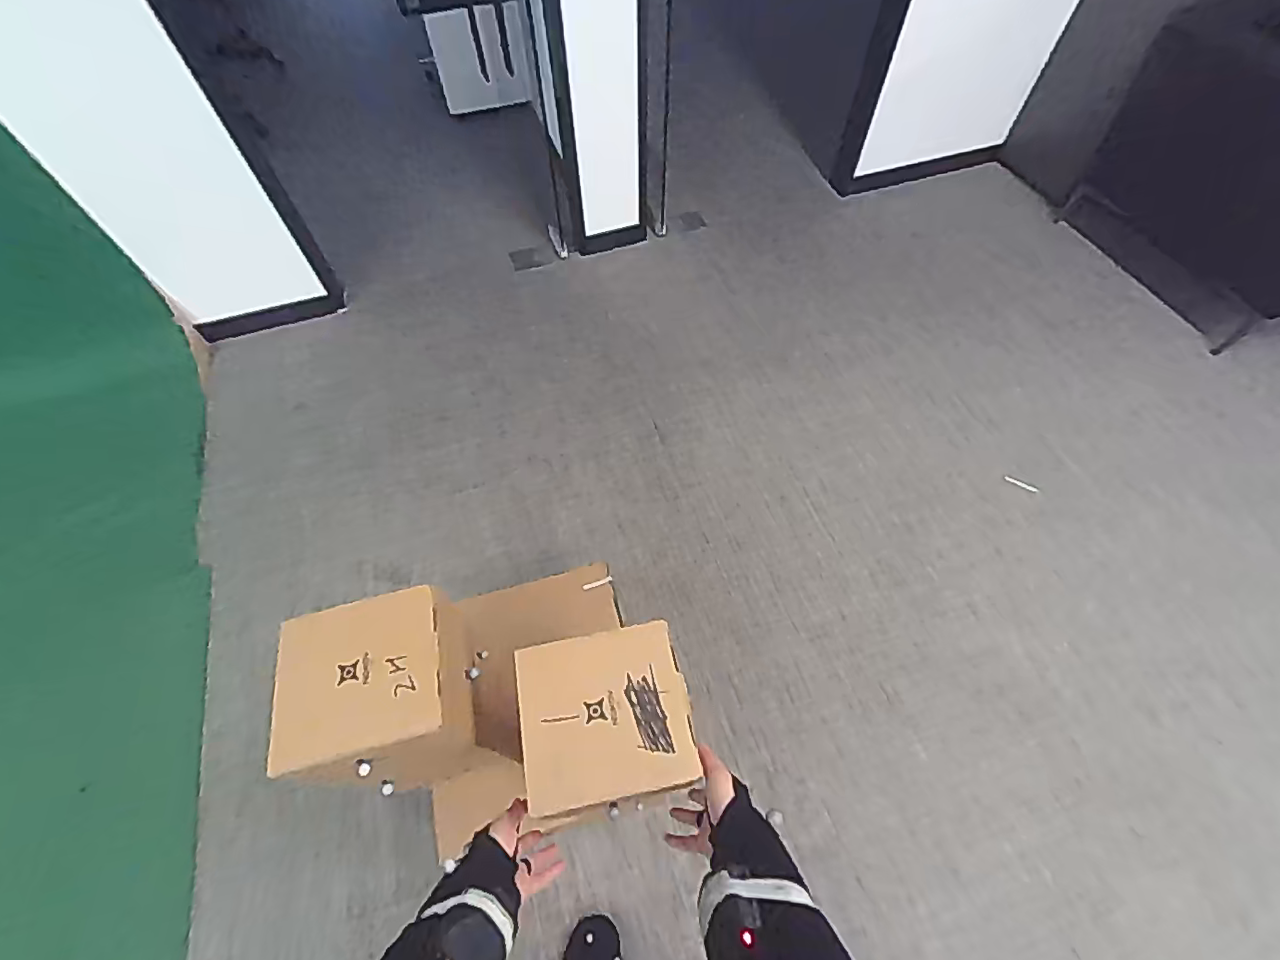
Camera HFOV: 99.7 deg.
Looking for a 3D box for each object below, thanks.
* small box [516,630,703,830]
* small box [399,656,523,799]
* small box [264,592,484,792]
[{"bbox_3d":[-0.038,0.292,0.629,0.179,0.176,0.168,-10,58,-6],"label":"small box"},{"bbox_3d":[-0.299,0.430,0.934,0.168,0.176,0.179,-12,56,-6],"label":"small box"},{"bbox_3d":[-0.303,0.260,0.650,0.179,0.176,0.168,-14,58,-6],"label":"small box"}]
